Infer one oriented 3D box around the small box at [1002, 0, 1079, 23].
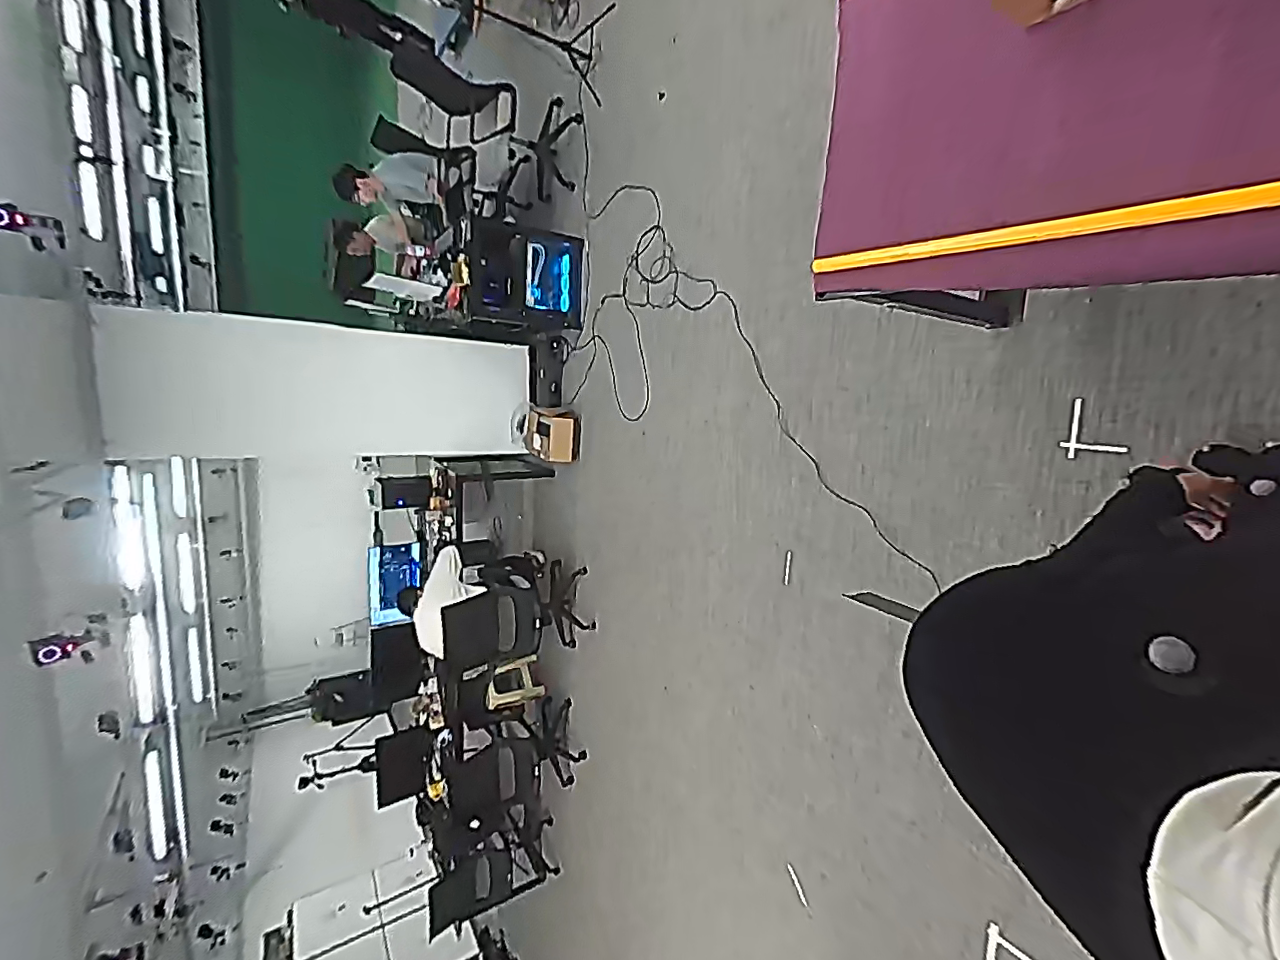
[{"bbox_3d":[0.549,-0.743,0.683,0.168,0.176,0.179,14,106,56],"label":"small box"}]
